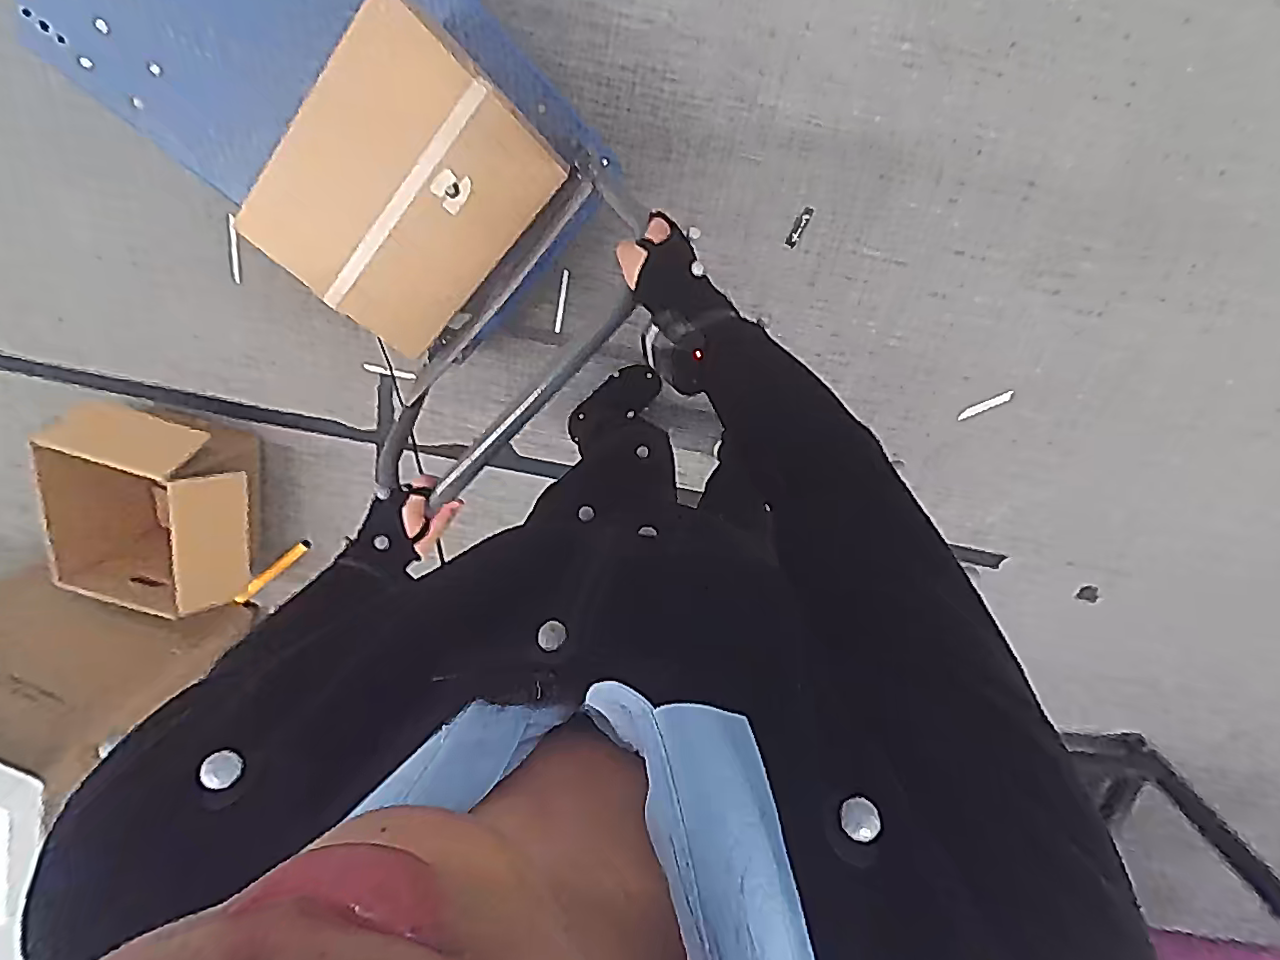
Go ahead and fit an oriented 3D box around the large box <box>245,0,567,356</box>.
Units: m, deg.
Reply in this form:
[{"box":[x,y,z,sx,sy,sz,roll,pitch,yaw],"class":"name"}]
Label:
[{"box":[-0.369,-0.499,0.939,0.320,0.320,0.408,38,110,-26],"class":"large box"}]
